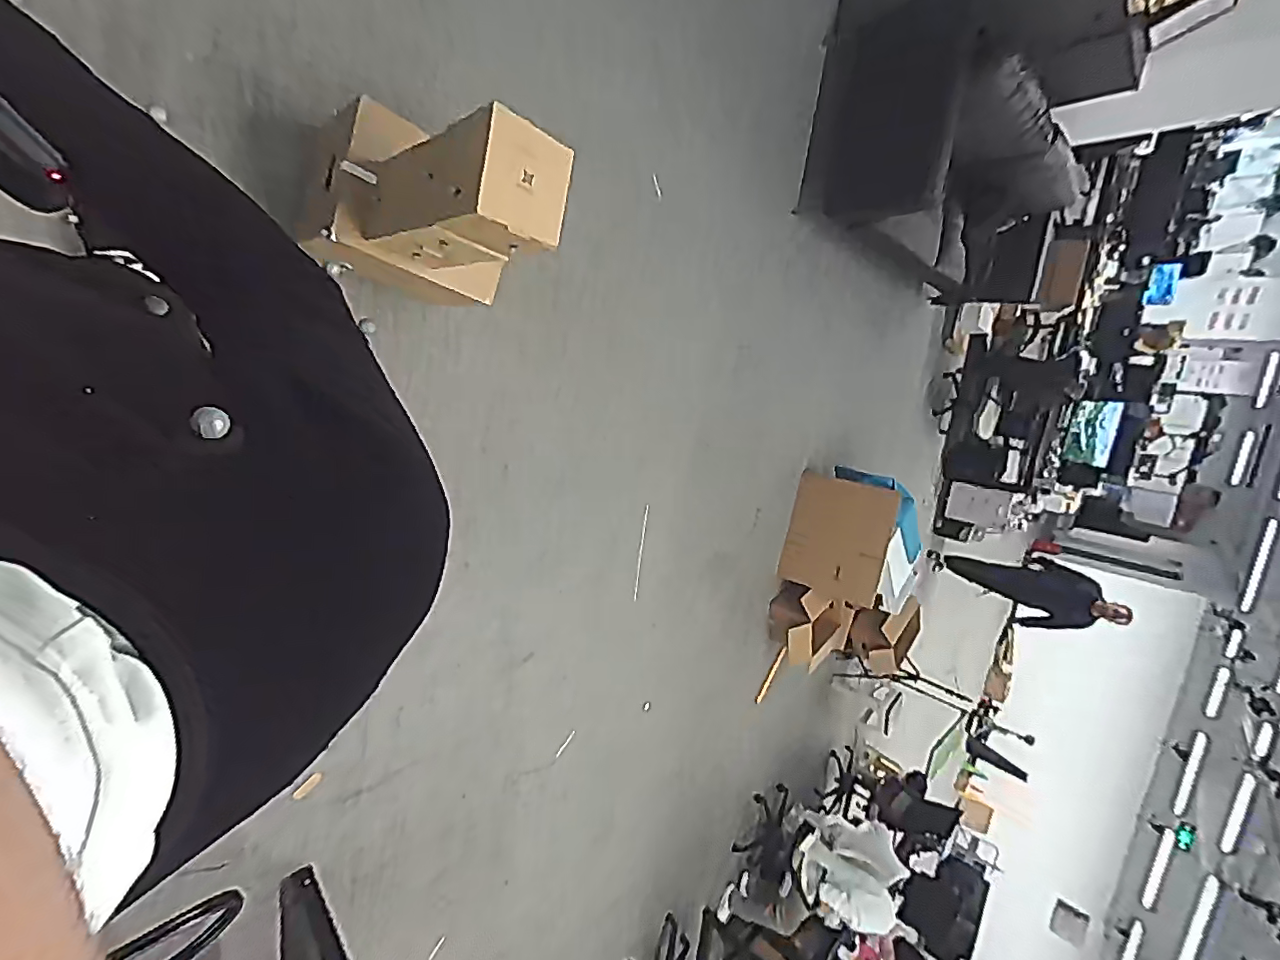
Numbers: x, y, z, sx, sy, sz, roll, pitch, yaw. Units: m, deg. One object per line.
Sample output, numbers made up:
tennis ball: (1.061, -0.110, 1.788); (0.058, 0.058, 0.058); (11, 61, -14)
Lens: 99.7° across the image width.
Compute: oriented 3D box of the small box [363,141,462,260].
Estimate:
small box: (-0.485, -0.597, 1.185); (0.168, 0.176, 0.179); (8, 98, -47)

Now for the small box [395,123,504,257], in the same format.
small box: (-0.369, -0.560, 1.077); (0.168, 0.176, 0.179); (7, 97, -47)

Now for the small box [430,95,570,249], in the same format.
small box: (-0.254, -0.530, 0.965); (0.168, 0.176, 0.179); (5, 98, -47)

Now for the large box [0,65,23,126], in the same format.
large box: (-1.234, -0.660, 0.746); (0.408, 0.320, 0.320); (-38, 126, -31)
